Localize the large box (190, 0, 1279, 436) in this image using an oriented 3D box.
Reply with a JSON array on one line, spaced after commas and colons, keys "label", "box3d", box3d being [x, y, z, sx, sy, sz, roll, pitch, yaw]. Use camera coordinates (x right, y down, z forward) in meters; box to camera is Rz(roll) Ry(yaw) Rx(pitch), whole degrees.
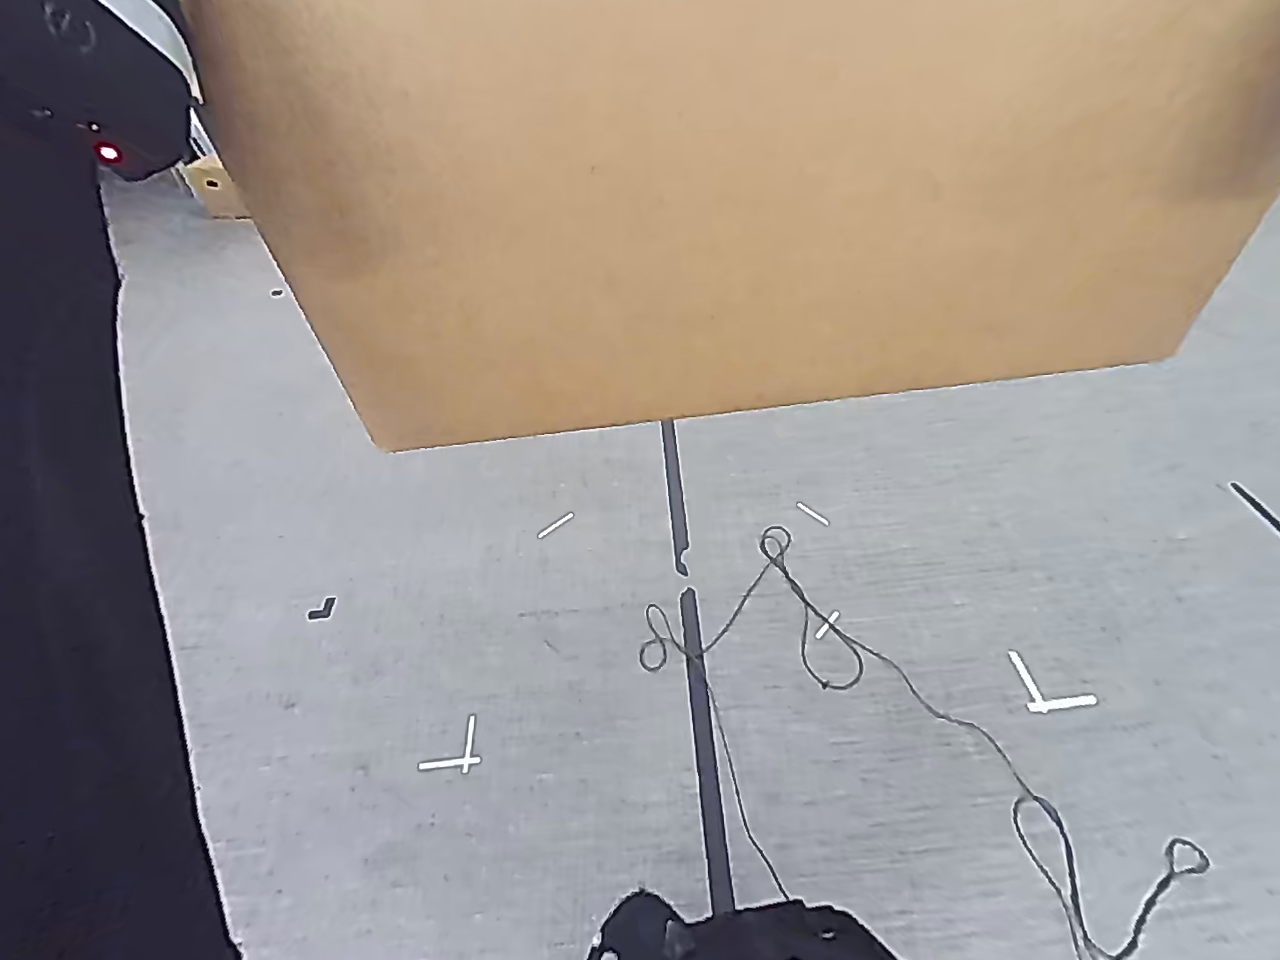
[{"label": "large box", "box3d": [0.041, -0.252, 0.295, 0.408, 0.320, 0.320, -7, 43, -1]}]
